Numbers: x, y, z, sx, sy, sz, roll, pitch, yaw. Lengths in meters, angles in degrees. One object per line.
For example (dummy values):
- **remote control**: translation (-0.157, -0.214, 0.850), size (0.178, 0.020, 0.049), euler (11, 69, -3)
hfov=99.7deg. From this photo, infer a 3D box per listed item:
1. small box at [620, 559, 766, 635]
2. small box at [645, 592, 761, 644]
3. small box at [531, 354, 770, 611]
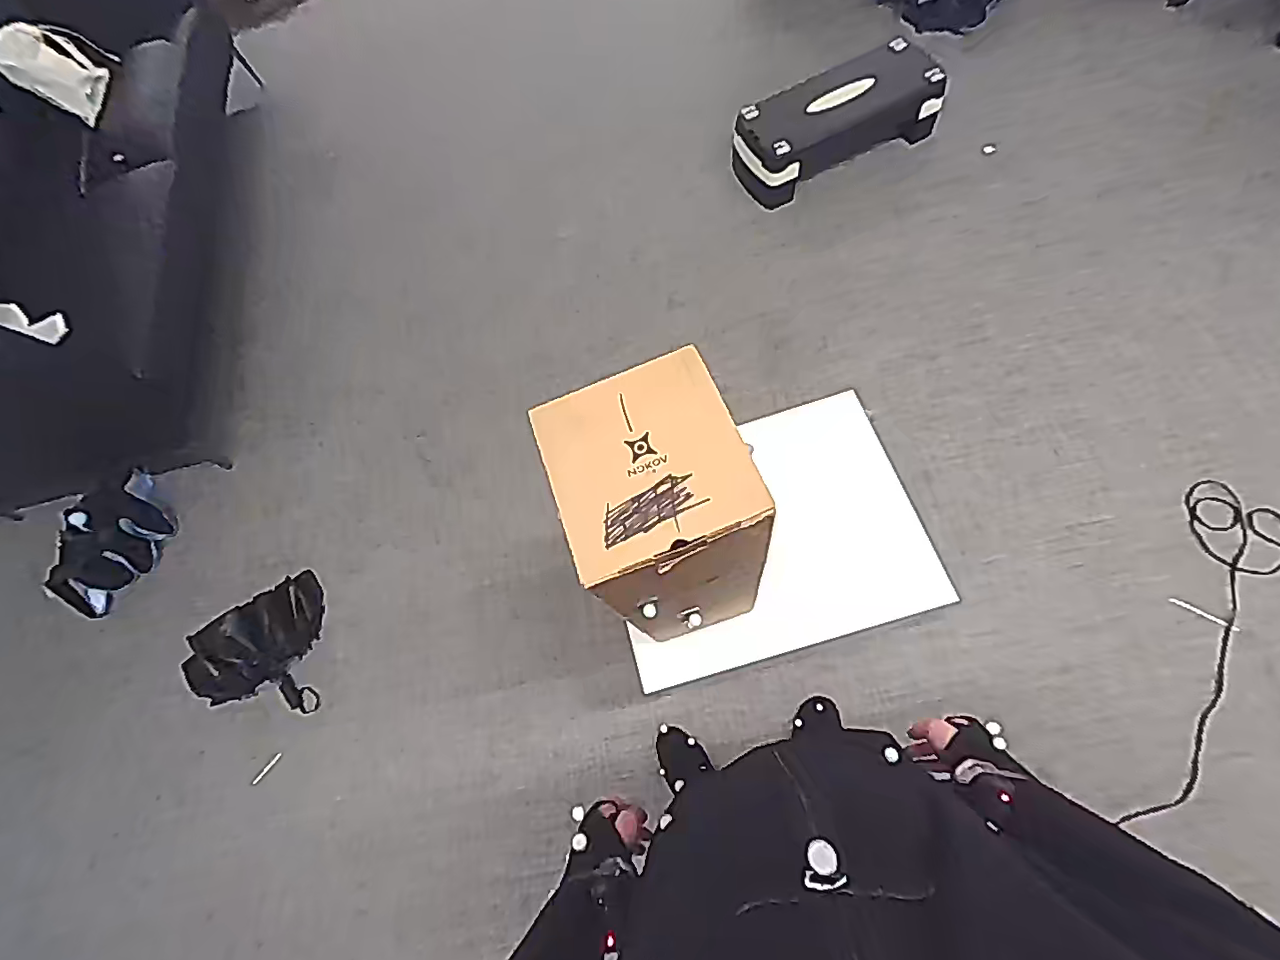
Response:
- **small box**: translation (0.045, 0.078, 0.680), size (0.168, 0.176, 0.179), euler (-21, 66, 2)
- **small box**: translation (0.074, 0.138, 0.831), size (0.168, 0.176, 0.179), euler (-19, 67, 2)
- **small box**: translation (0.016, 0.017, 0.530), size (0.168, 0.176, 0.179), euler (-22, 64, 1)
